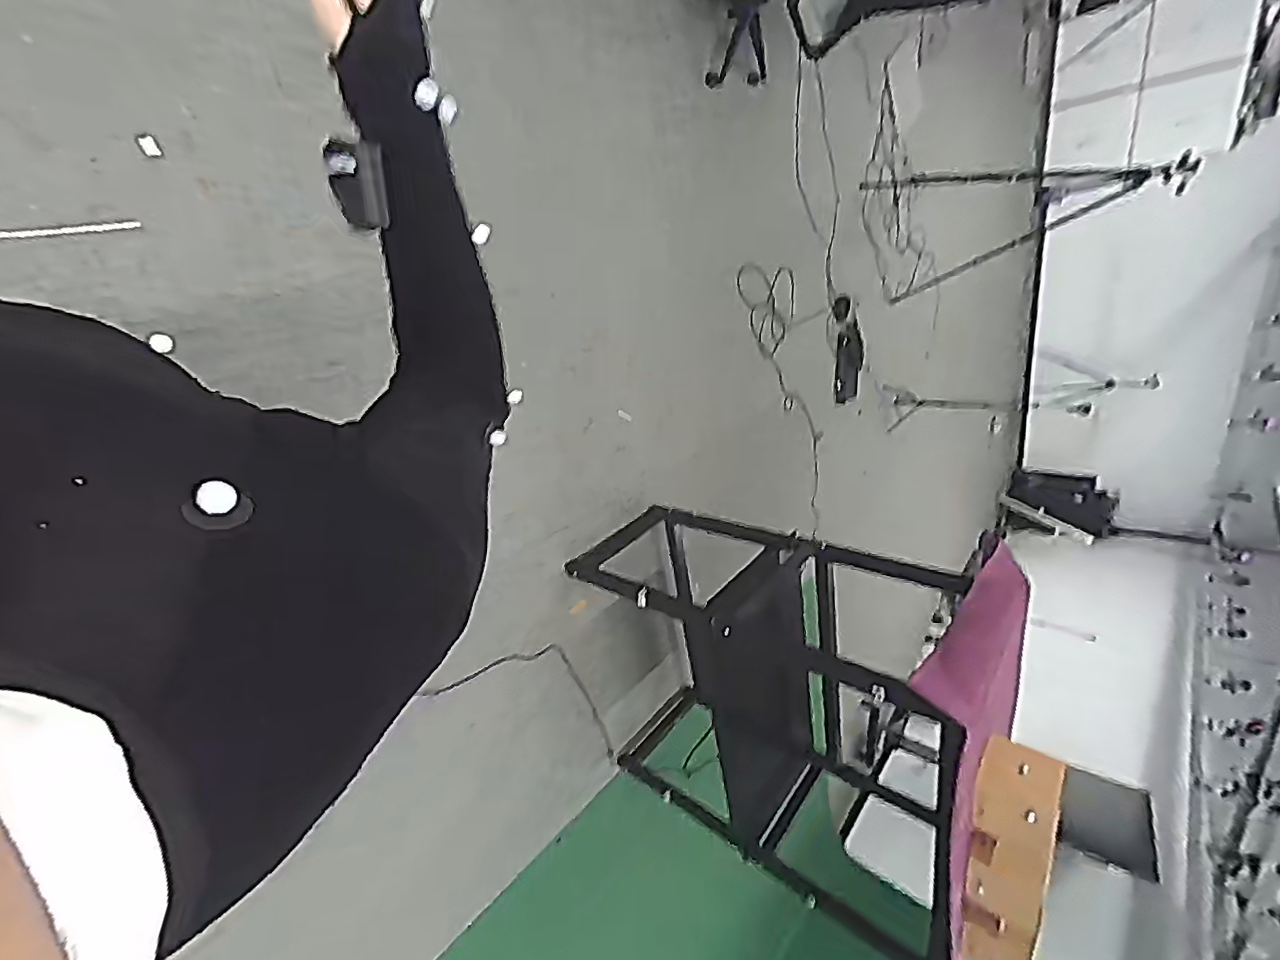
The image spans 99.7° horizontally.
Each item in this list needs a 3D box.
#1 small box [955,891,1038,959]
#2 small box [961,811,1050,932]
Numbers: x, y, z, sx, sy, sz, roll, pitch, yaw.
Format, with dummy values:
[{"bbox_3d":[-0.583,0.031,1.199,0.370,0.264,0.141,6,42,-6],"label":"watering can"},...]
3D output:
[{"bbox_3d":[1.038,1.309,1.579,0.179,0.176,0.168,-26,117,-42],"label":"small box"},{"bbox_3d":[0.990,1.055,1.473,0.168,0.176,0.179,-31,120,-41],"label":"small box"}]
